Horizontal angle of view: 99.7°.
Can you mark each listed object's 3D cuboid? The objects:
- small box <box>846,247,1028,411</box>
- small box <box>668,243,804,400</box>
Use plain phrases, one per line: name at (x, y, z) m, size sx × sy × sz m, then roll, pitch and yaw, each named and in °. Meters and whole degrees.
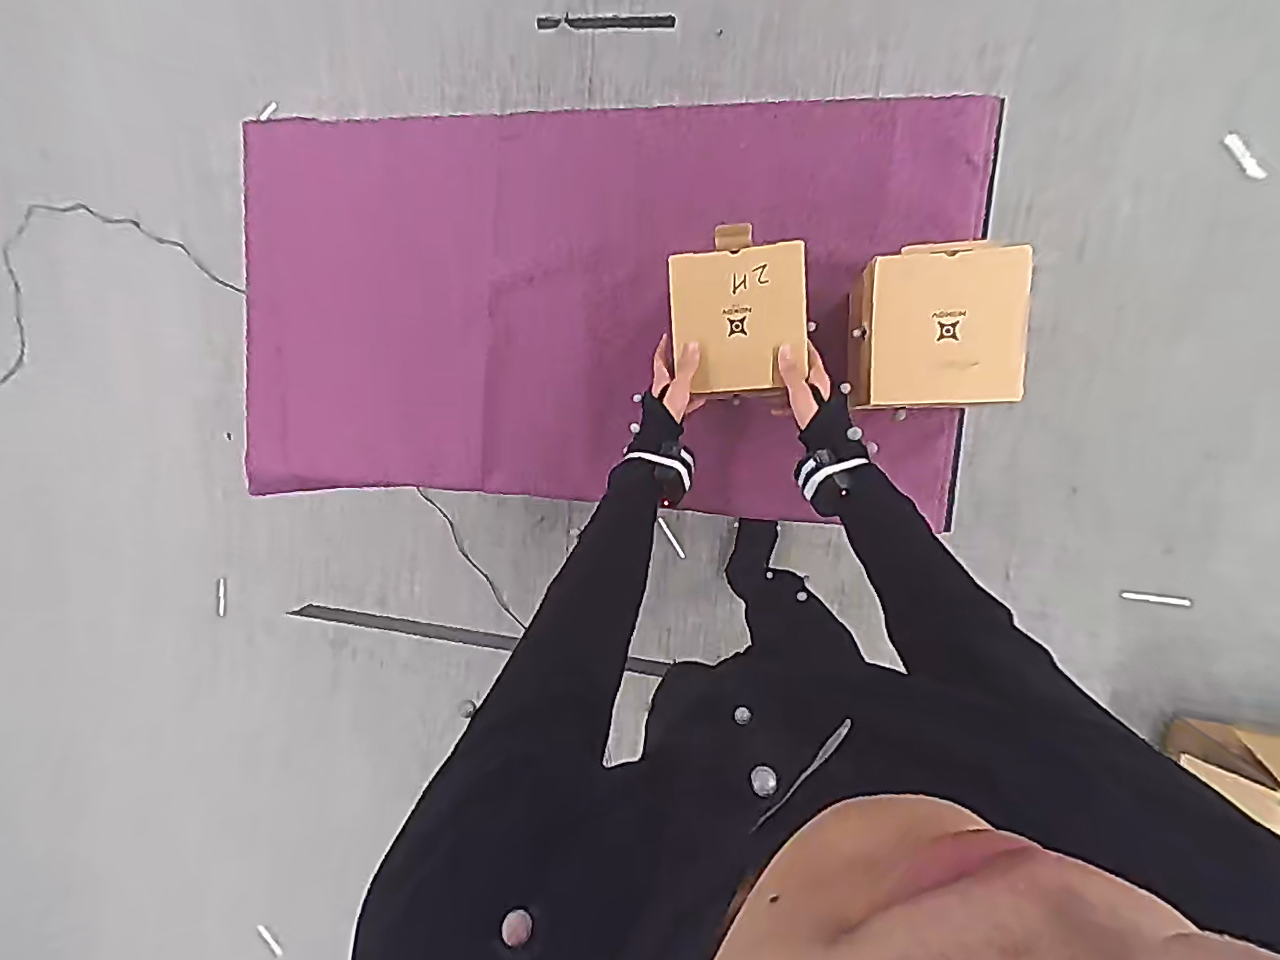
small box at (0.369, -0.183, 0.704) m, size 0.168 × 0.176 × 0.179 m, roll 1°, pitch 95°, yaw 12°
small box at (0.134, -0.203, 0.746) m, size 0.168 × 0.176 × 0.179 m, roll -3°, pitch 95°, yaw 11°
